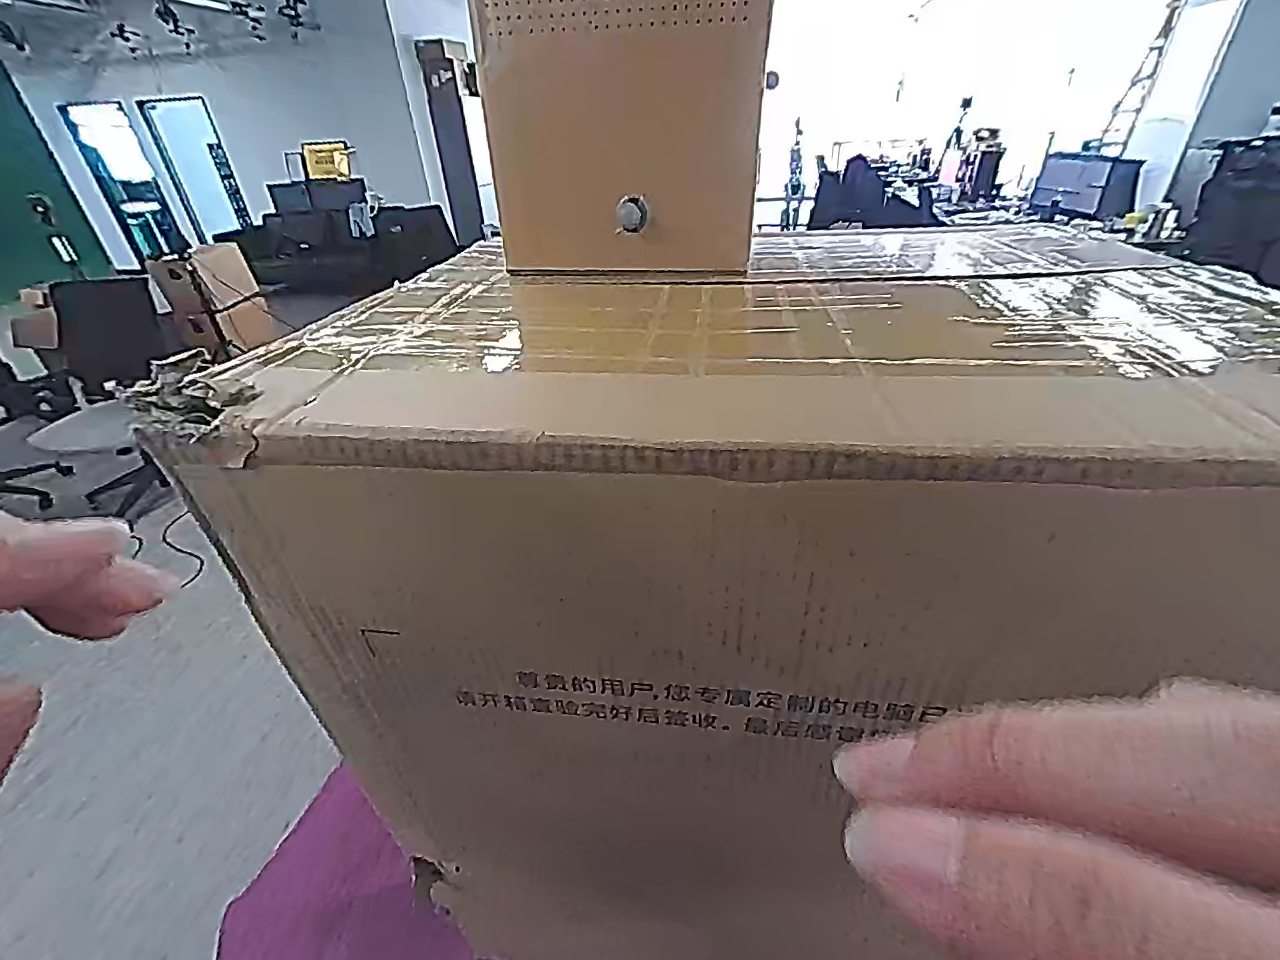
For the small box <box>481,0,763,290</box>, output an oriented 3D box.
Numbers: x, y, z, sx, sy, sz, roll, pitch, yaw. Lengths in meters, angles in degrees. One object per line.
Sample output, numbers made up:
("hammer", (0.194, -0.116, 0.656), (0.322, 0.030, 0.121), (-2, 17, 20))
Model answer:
("small box", (-0.005, -0.249, 0.408), (0.179, 0.176, 0.168), (3, 33, 9))
